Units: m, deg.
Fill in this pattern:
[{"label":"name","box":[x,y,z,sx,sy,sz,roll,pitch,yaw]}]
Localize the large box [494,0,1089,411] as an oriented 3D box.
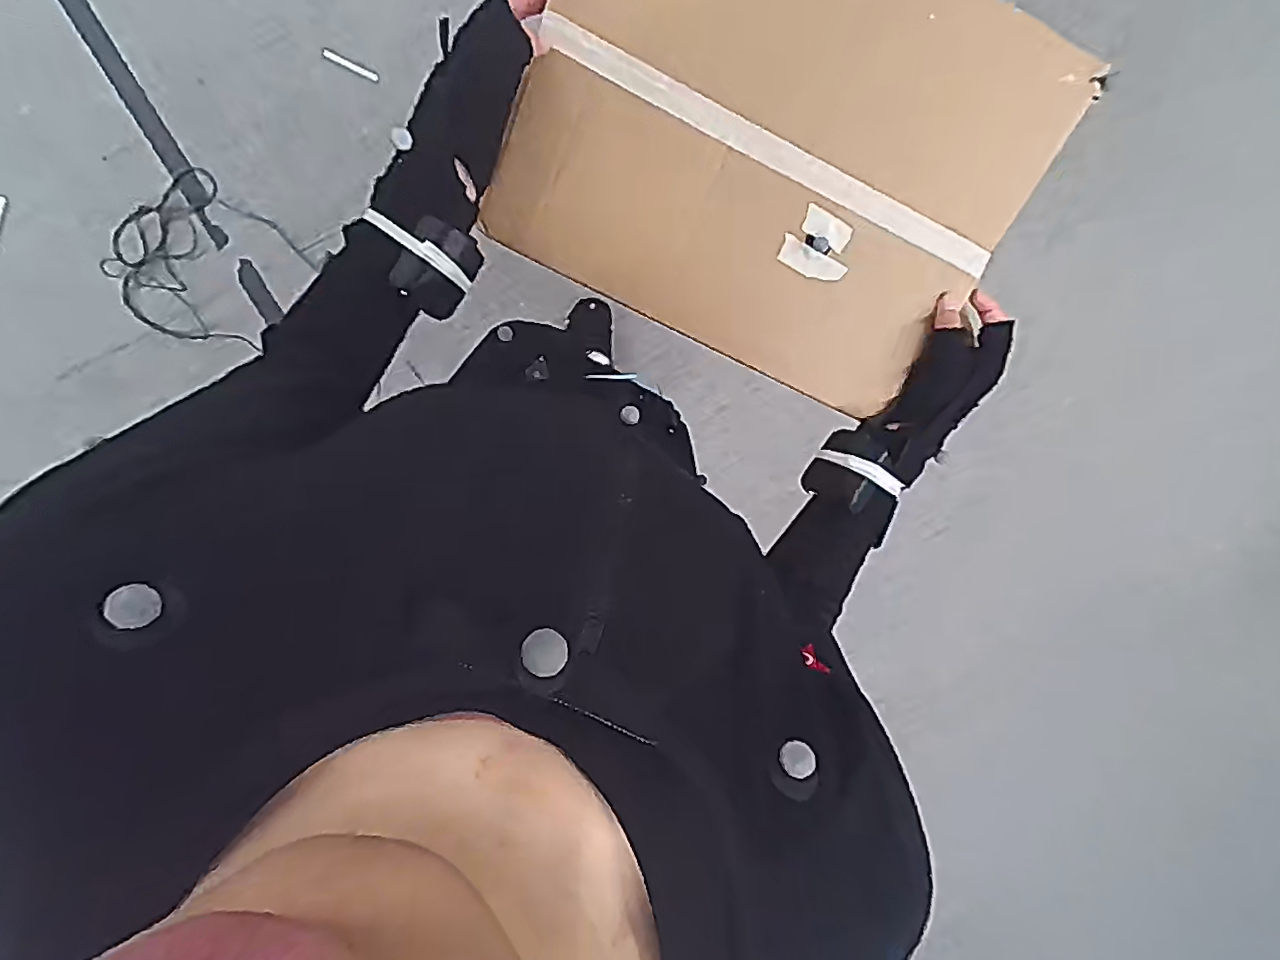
[{"label":"large box","box":[0.113,-0.321,0.585,0.408,0.320,0.320,24,109,-8]}]
